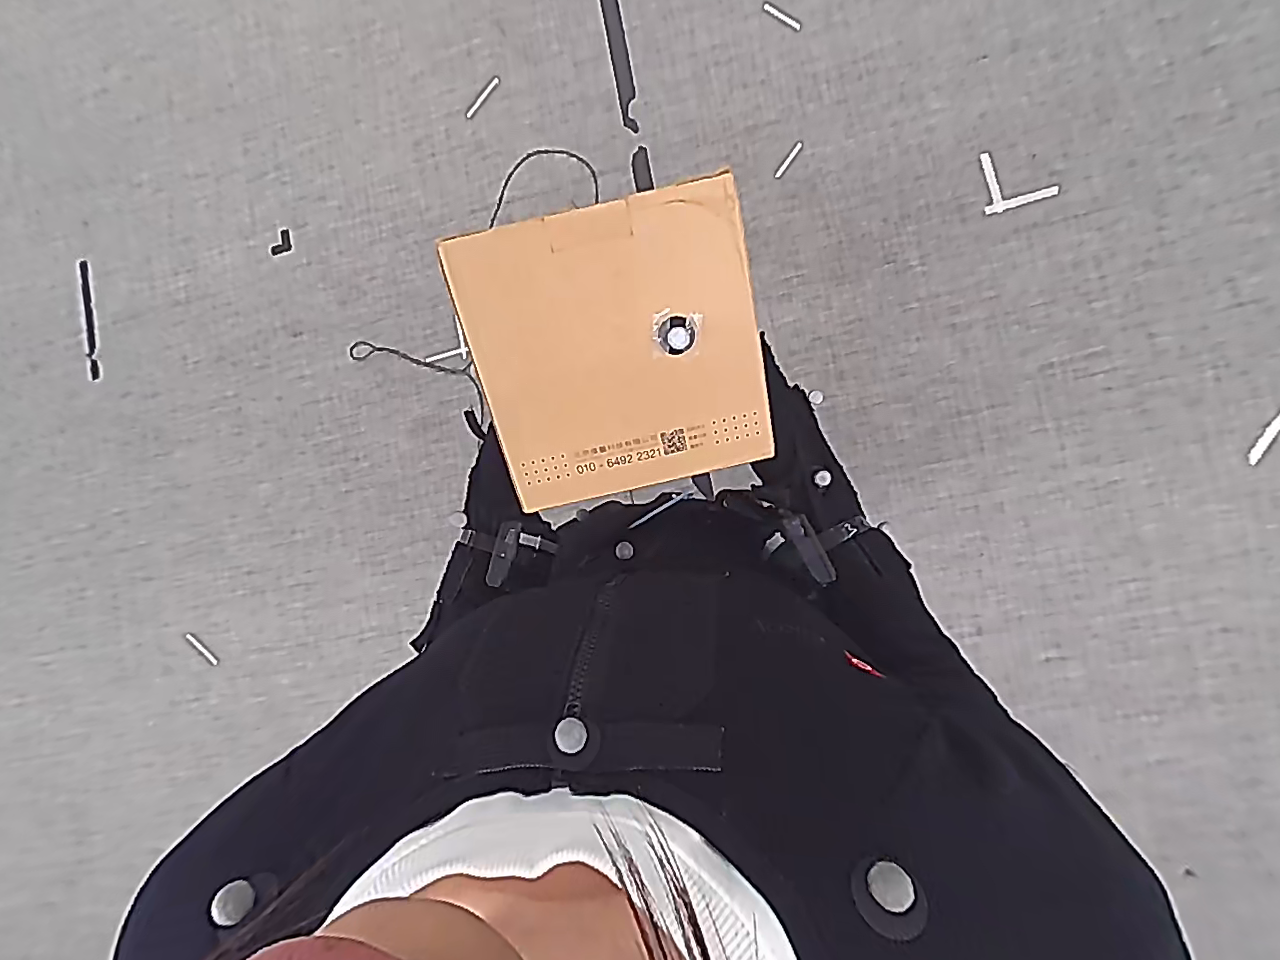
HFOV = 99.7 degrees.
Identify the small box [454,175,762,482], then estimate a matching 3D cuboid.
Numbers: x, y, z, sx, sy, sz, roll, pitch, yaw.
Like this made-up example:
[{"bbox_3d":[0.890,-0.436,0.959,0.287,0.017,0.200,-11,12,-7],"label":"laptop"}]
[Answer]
[{"bbox_3d":[-0.013,-0.108,0.411,0.168,0.179,0.176,-12,112,3],"label":"small box"}]
